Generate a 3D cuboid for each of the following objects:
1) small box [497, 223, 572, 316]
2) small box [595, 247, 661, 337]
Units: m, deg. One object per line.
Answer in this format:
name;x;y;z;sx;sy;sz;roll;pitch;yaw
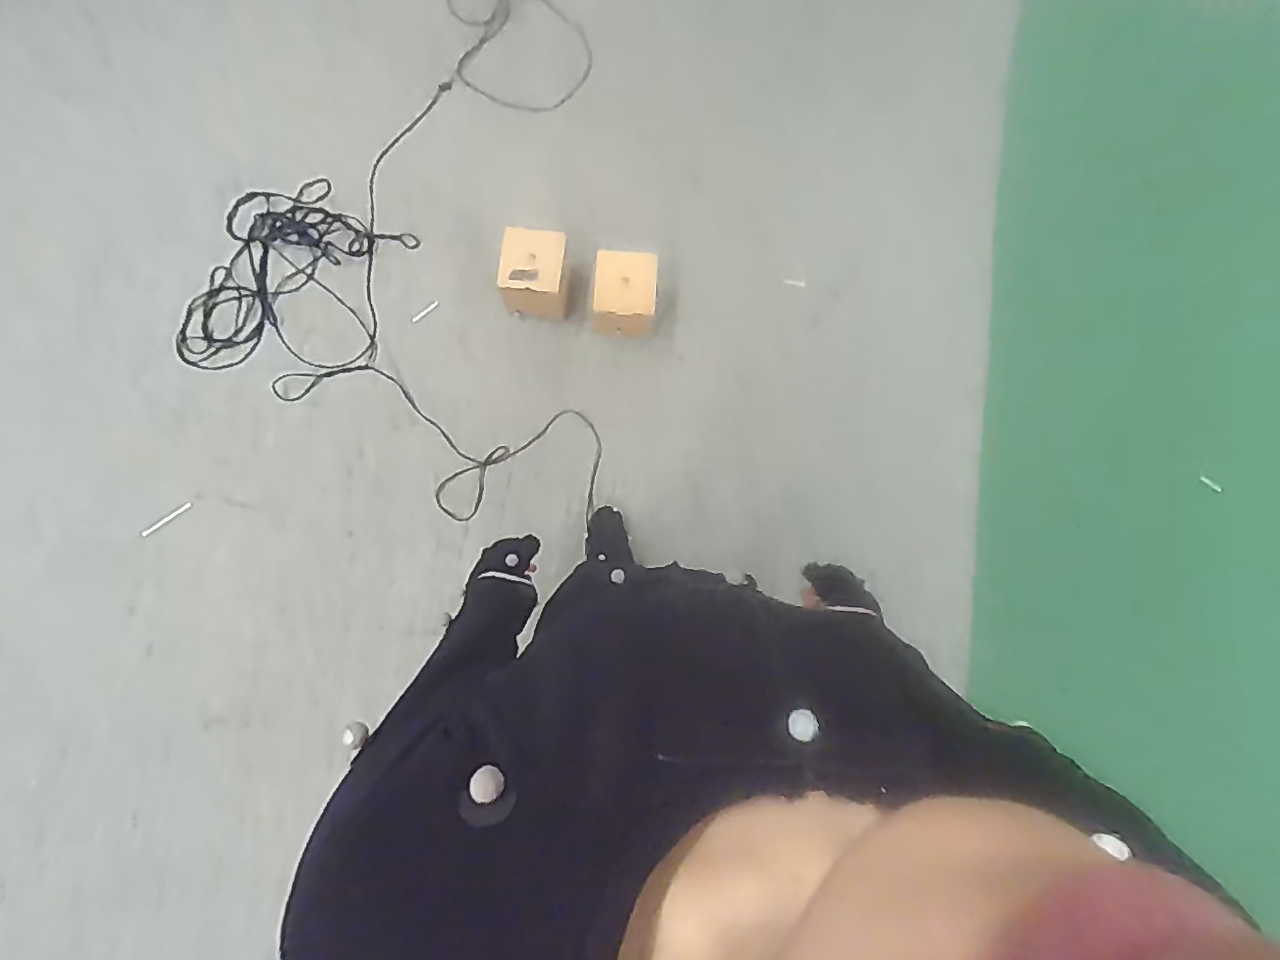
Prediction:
small box;-0.285;-0.575;1.498;0.168;0.176;0.179;7;81;-2
small box;-0.036;-0.517;1.502;0.168;0.176;0.179;3;83;-2
